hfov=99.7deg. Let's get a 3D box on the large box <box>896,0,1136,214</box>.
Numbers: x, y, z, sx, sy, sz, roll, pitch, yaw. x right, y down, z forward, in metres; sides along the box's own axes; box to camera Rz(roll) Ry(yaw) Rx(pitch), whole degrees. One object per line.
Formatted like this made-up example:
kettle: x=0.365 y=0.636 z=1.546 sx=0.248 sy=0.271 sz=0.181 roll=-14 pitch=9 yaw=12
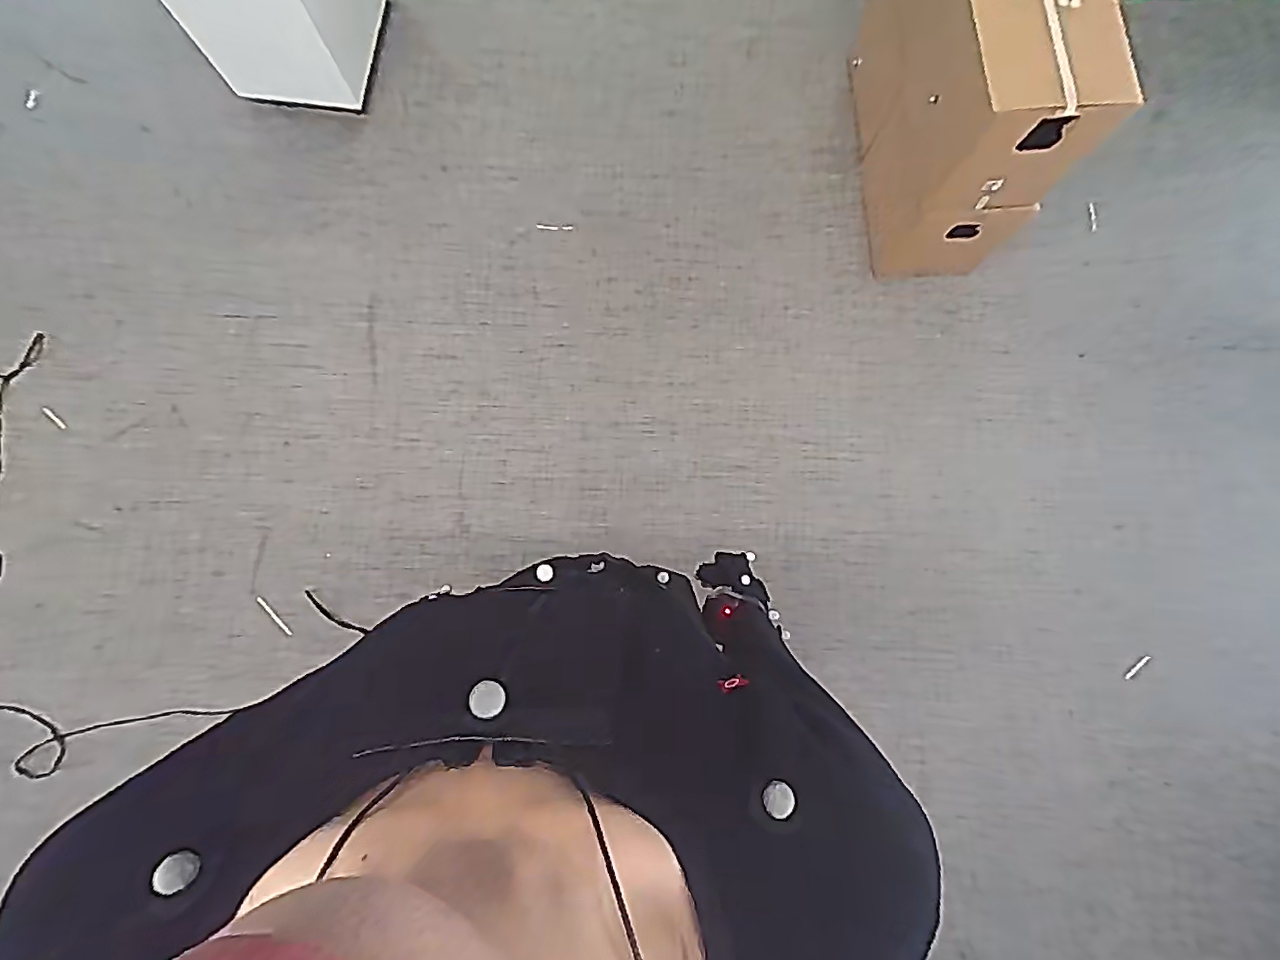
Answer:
large box: x=0.856 y=-0.919 z=1.290 sx=0.320 sy=0.320 sz=0.408 roll=-3 pitch=79 yaw=-1
